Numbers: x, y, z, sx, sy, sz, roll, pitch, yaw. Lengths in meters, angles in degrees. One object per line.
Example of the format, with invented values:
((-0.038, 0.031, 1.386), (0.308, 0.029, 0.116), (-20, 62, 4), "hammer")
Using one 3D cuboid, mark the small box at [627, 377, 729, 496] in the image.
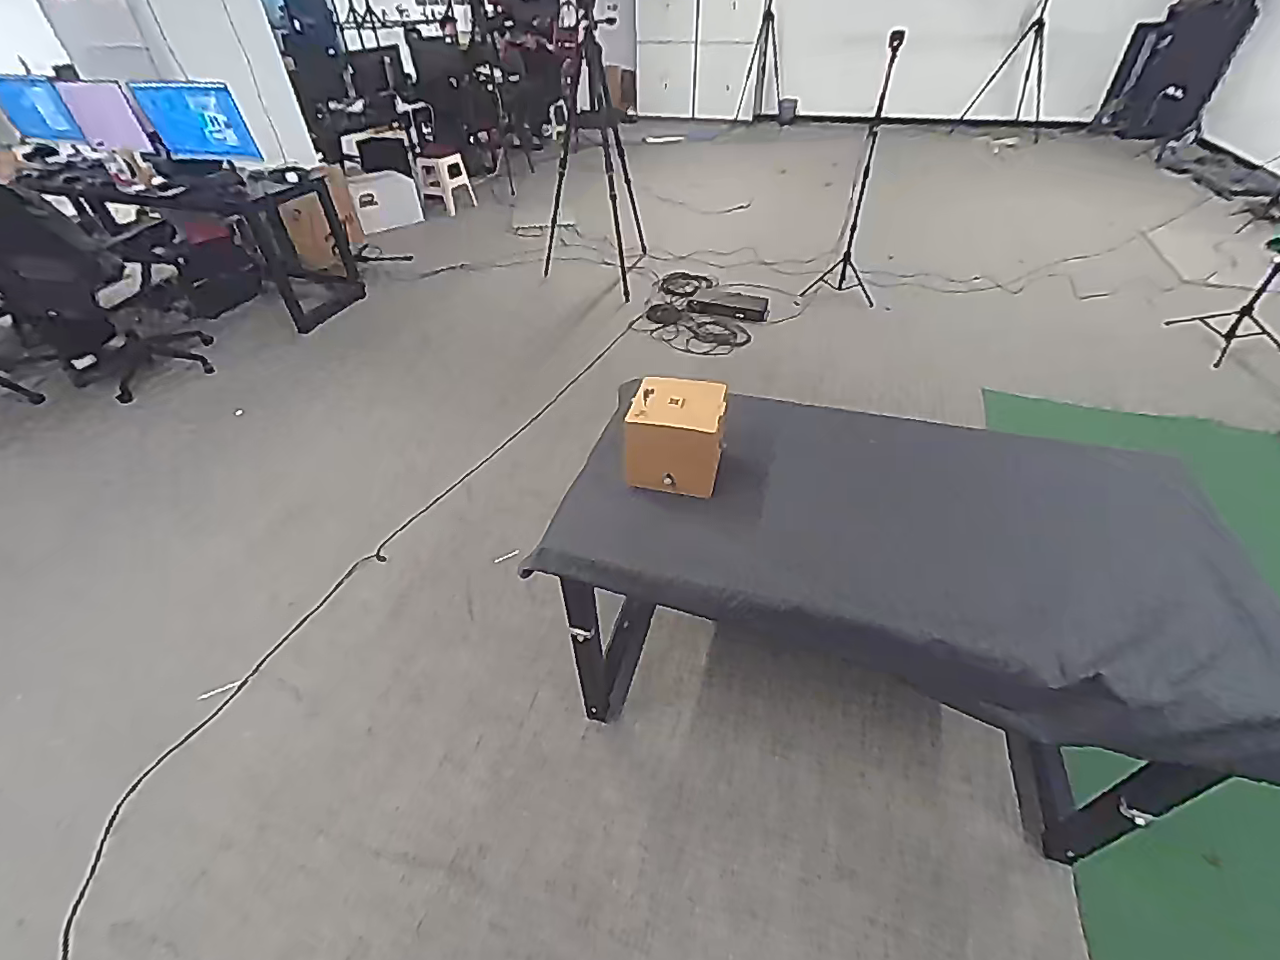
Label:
((0.078, -0.087, 1.111), (0.179, 0.176, 0.168), (10, 43, 11), "small box")
